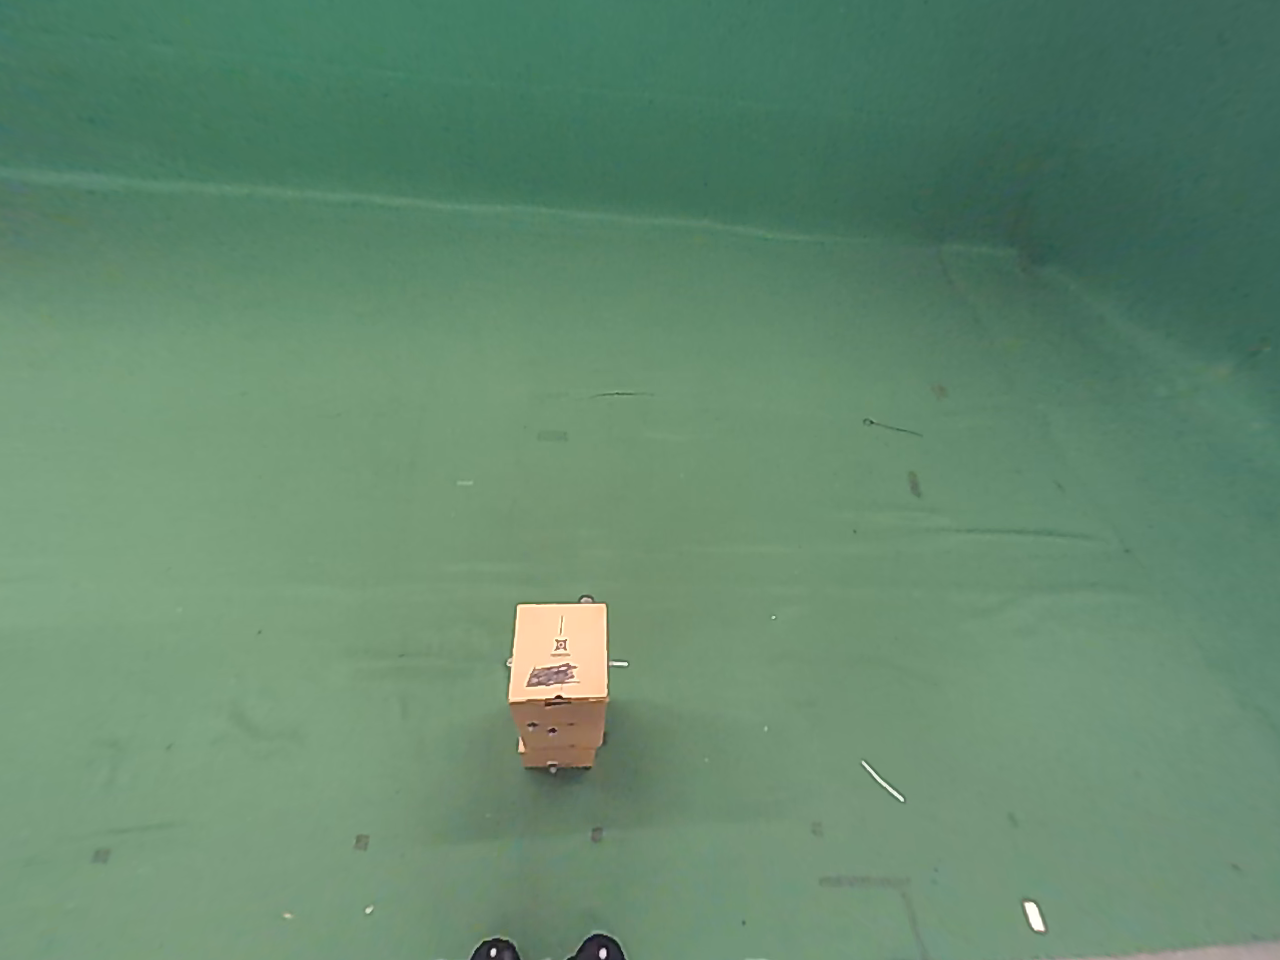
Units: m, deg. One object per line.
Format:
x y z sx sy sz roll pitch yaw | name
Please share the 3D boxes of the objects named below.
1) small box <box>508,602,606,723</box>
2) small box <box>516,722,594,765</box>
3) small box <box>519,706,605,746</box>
-0.148 0.345 1.011 0.168 0.176 0.179 1 50 -6 | small box
-0.185 0.542 1.247 0.168 0.176 0.179 2 51 -3 | small box
-0.161 0.447 1.140 0.168 0.176 0.179 1 50 -6 | small box
